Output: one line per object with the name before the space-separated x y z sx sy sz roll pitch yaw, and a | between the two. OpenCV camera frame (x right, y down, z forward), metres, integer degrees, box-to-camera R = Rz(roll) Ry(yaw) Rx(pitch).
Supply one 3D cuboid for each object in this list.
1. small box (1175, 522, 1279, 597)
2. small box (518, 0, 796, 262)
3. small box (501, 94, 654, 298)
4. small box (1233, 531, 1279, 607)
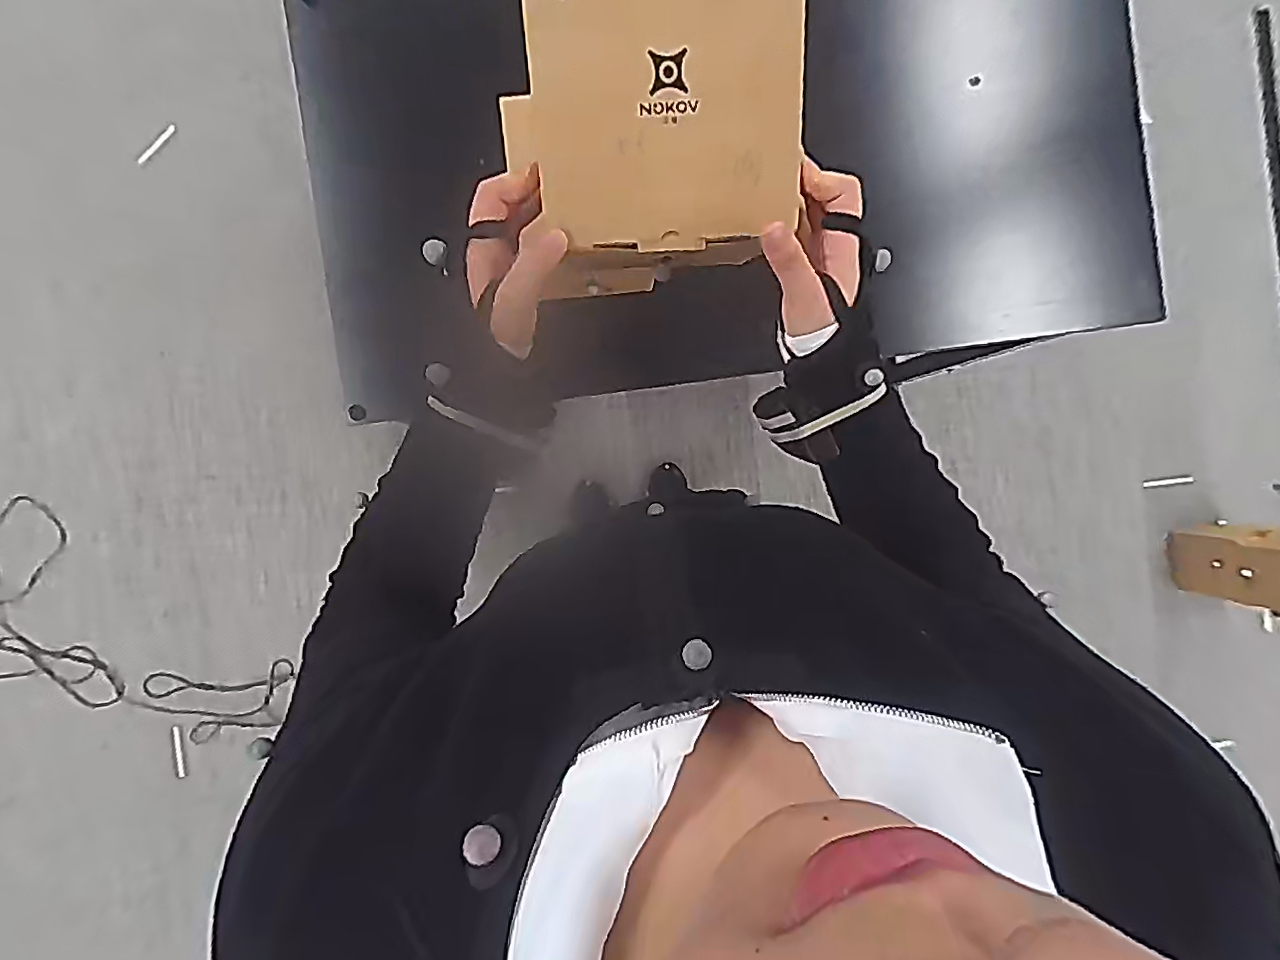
small box | 1.650 0.214 1.504 0.168 0.176 0.179 -9 92 -2
small box | 0.011 -0.262 0.406 0.168 0.176 0.179 -3 108 0
small box | -0.071 -0.349 0.685 0.168 0.176 0.179 -6 91 -2
small box | 1.655 0.222 1.341 0.179 0.176 0.168 -11 90 -1
